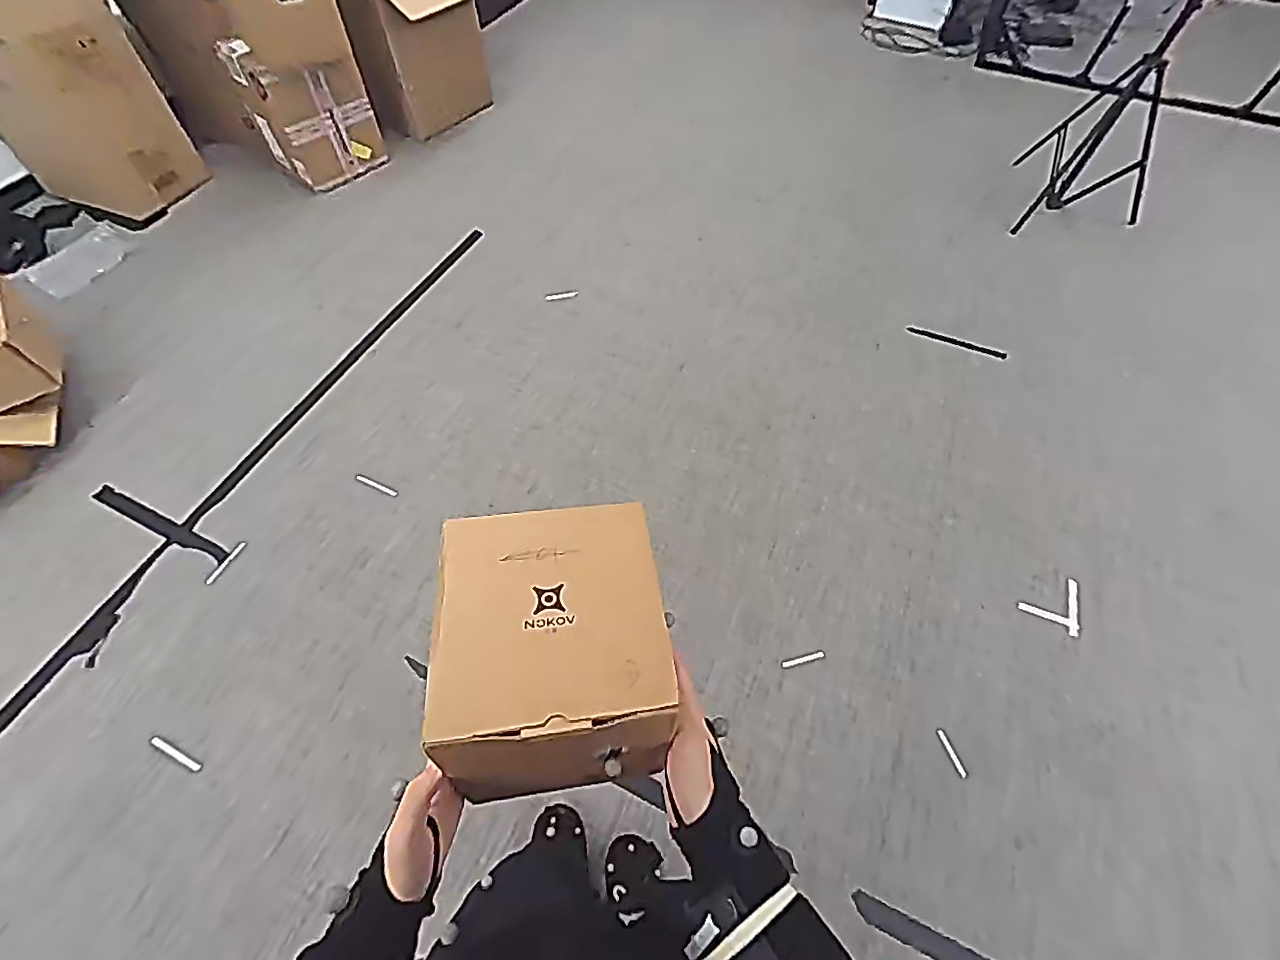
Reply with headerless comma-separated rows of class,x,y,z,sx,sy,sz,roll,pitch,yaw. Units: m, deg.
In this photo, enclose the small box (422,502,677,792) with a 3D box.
small box,-0.070,0.143,0.454,0.168,0.176,0.179,-5,48,-9
